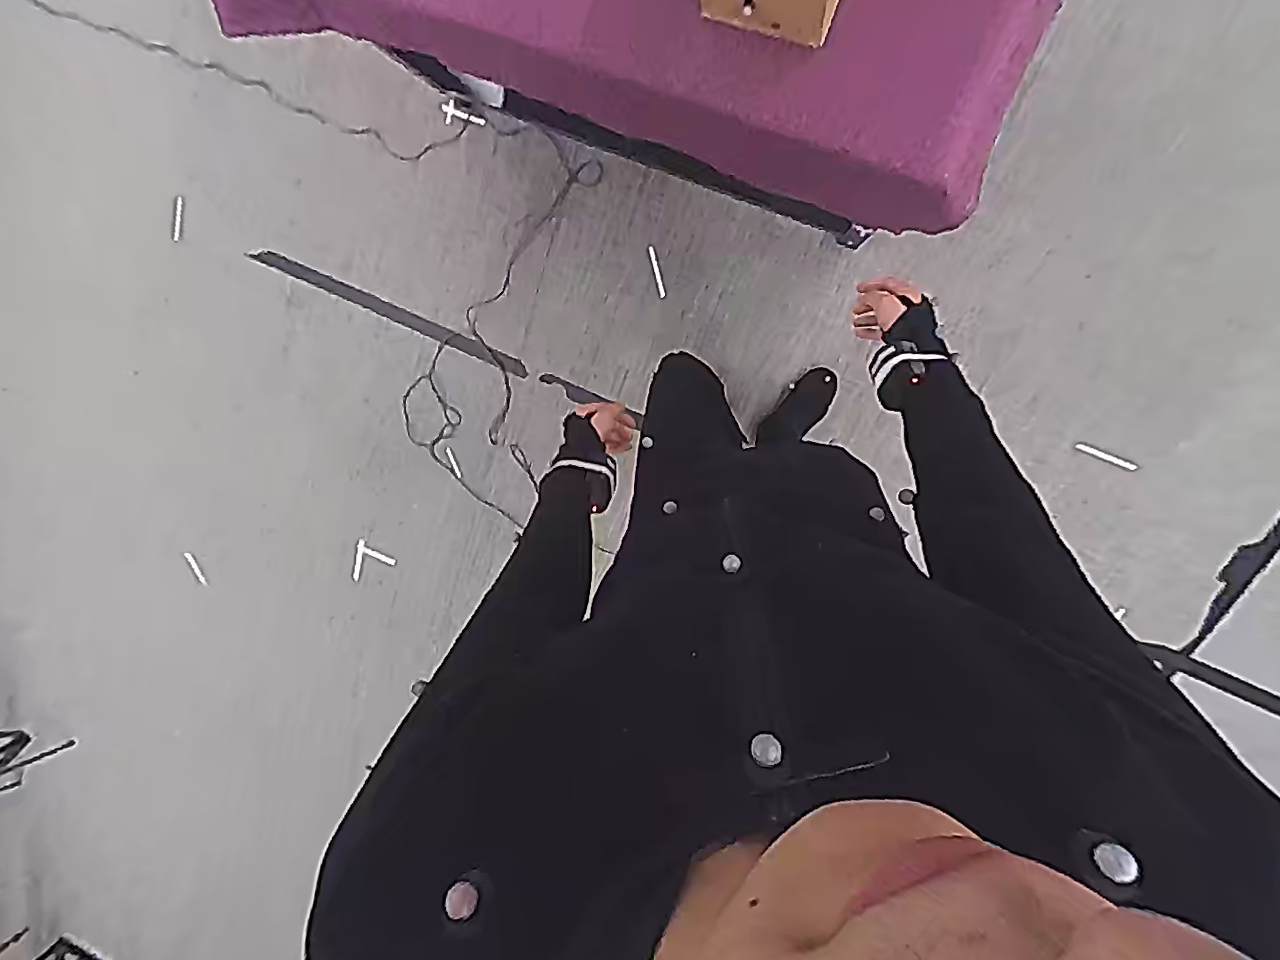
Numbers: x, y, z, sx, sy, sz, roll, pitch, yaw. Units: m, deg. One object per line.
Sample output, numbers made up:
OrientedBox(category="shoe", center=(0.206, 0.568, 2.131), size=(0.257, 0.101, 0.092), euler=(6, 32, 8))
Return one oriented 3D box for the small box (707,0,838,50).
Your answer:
OrientedBox(category="small box", center=(0.168, -0.643, 0.609), size=(0.168, 0.176, 0.179), euler=(21, 108, 7))
